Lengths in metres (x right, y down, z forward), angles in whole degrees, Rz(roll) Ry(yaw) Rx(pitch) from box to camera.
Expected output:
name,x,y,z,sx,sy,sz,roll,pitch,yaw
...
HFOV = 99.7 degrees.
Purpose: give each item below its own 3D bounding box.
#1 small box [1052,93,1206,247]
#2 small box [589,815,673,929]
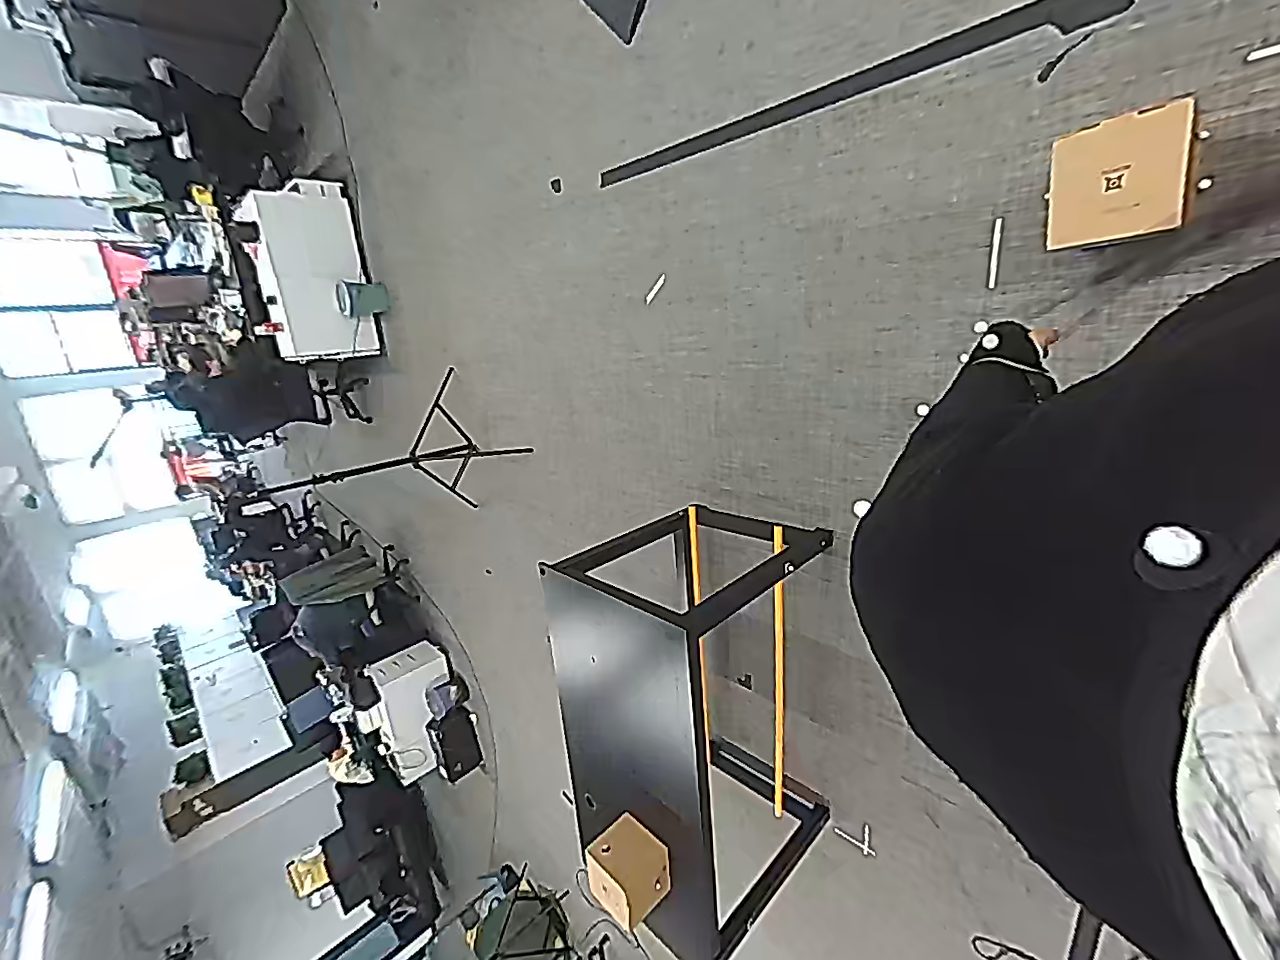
name,x,y,z,sx,sy,sz,roll,pitch,yaw
small box,0.801,-0.491,0.888,0.168,0.176,0.179,8,112,48
small box,-0.025,1.120,1.566,0.179,0.176,0.168,14,115,45
